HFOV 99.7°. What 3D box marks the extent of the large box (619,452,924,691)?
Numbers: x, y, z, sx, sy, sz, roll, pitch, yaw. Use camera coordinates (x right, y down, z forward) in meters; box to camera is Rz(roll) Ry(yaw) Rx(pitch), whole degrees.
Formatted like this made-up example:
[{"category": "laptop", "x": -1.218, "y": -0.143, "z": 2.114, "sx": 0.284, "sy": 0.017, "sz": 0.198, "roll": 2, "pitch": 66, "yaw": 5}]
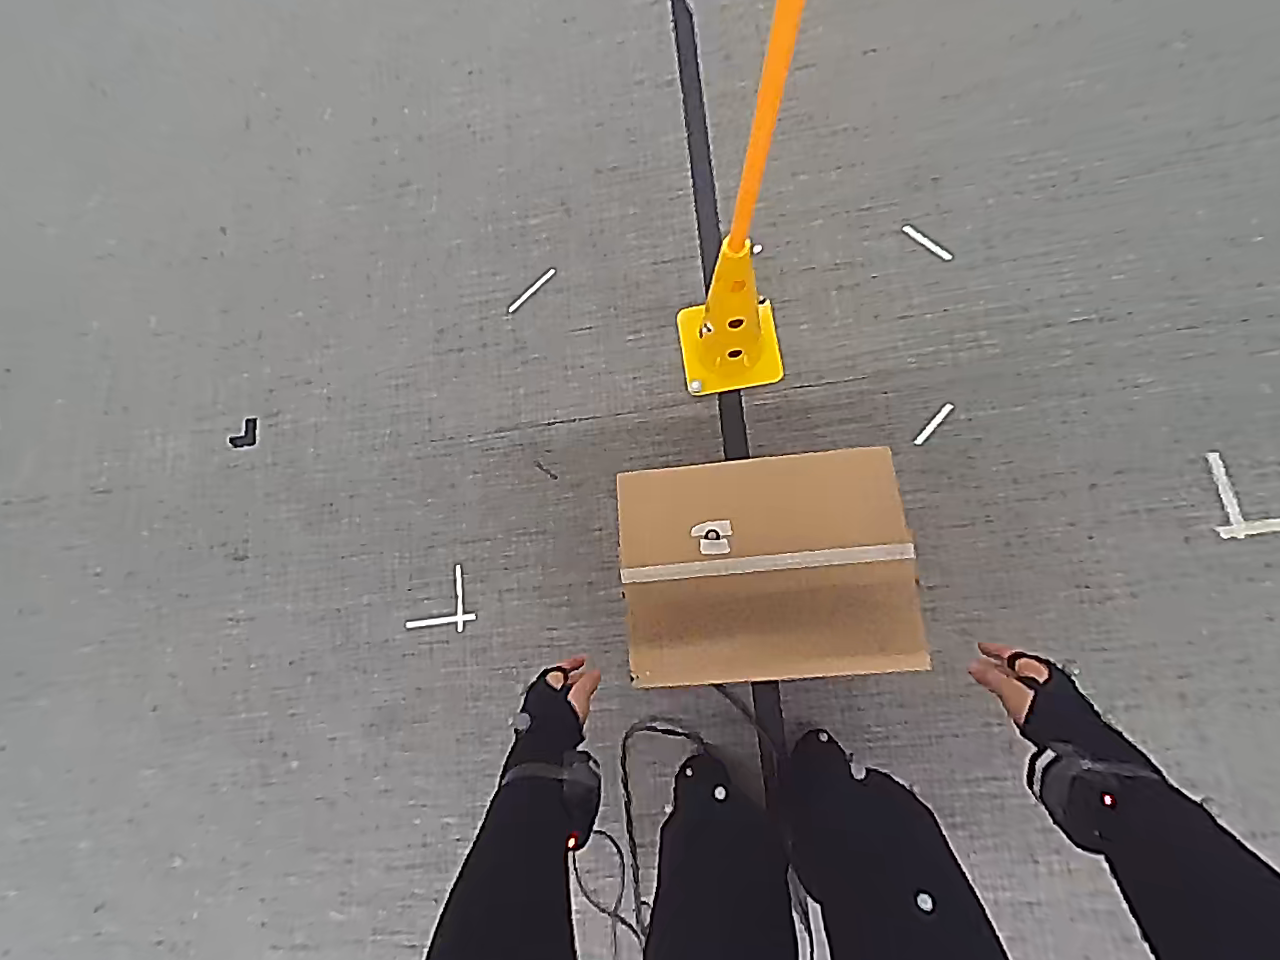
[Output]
[{"category": "large box", "x": 0.196, "y": 0.161, "z": 0.925, "sx": 0.408, "sy": 0.320, "sz": 0.320, "roll": -6, "pitch": 76, "yaw": 7}]
